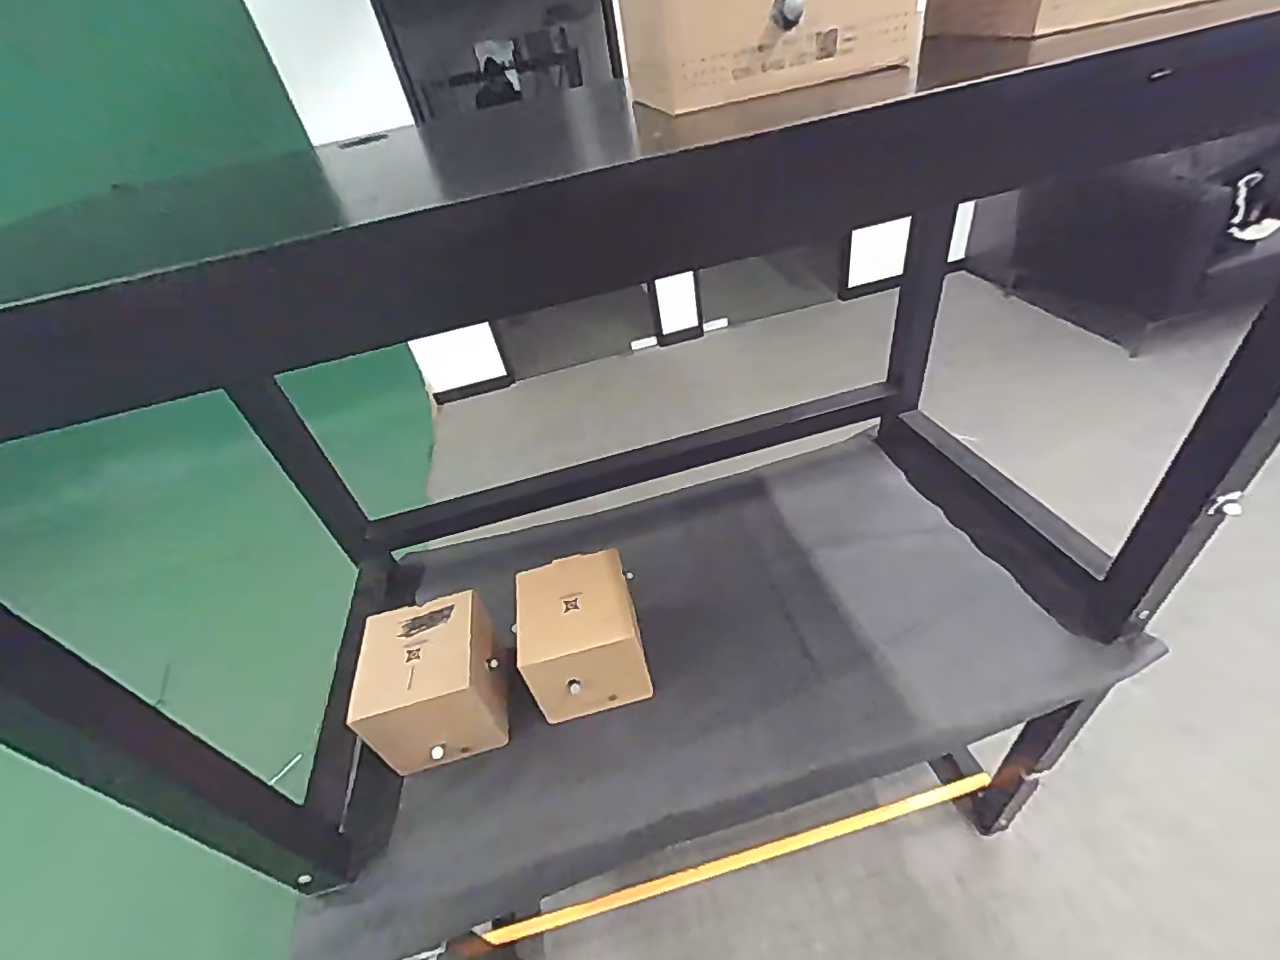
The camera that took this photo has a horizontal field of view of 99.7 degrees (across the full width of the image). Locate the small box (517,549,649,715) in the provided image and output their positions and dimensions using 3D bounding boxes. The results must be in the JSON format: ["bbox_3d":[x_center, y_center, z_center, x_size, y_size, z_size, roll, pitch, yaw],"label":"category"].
[{"bbox_3d":[-0.089,0.244,0.850,0.168,0.176,0.179,-14,38,-3],"label":"small box"}]

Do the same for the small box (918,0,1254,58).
[{"bbox_3d":[0.318,-0.412,0.373,0.168,0.176,0.179,-8,38,5],"label":"small box"}]

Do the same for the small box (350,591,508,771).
[{"bbox_3d":[-0.307,0.305,0.826,0.168,0.176,0.179,-15,39,-4],"label":"small box"}]
